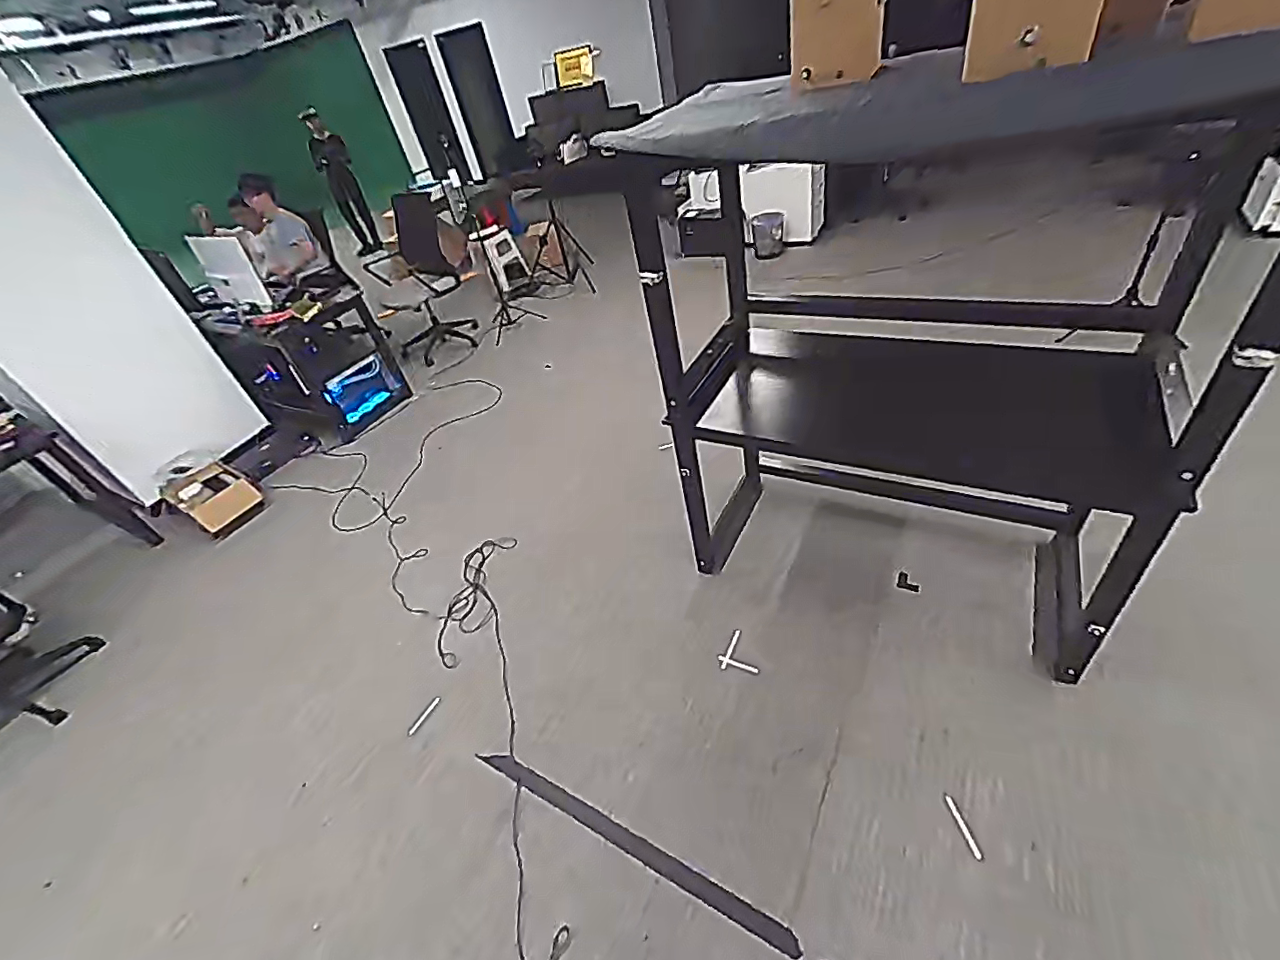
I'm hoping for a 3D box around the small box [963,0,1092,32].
[{"bbox_3d":[0.601,-0.807,0.822,0.168,0.176,0.179,8,45,24],"label":"small box"}]

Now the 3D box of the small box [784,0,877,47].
[{"bbox_3d":[0.404,-1.032,1.134,0.168,0.176,0.179,10,46,25],"label":"small box"}]
